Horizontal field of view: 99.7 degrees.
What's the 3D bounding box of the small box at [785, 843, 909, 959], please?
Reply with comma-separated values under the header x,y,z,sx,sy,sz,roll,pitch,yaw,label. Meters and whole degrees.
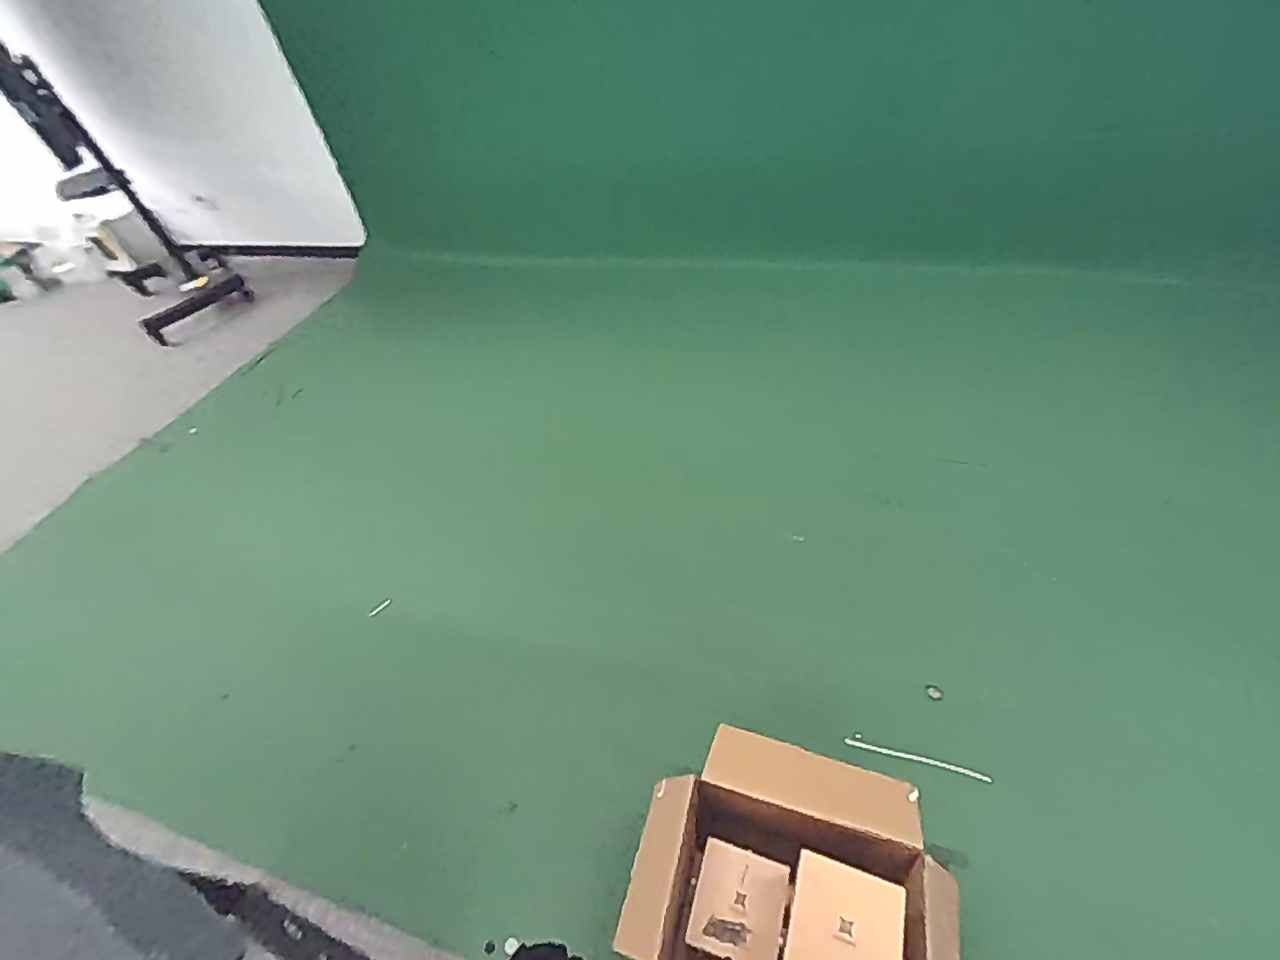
x,y,z,sx,sy,sz,roll,pitch,yaw,label
0.341,0.756,0.906,0.168,0.176,0.179,9,48,22,small box
